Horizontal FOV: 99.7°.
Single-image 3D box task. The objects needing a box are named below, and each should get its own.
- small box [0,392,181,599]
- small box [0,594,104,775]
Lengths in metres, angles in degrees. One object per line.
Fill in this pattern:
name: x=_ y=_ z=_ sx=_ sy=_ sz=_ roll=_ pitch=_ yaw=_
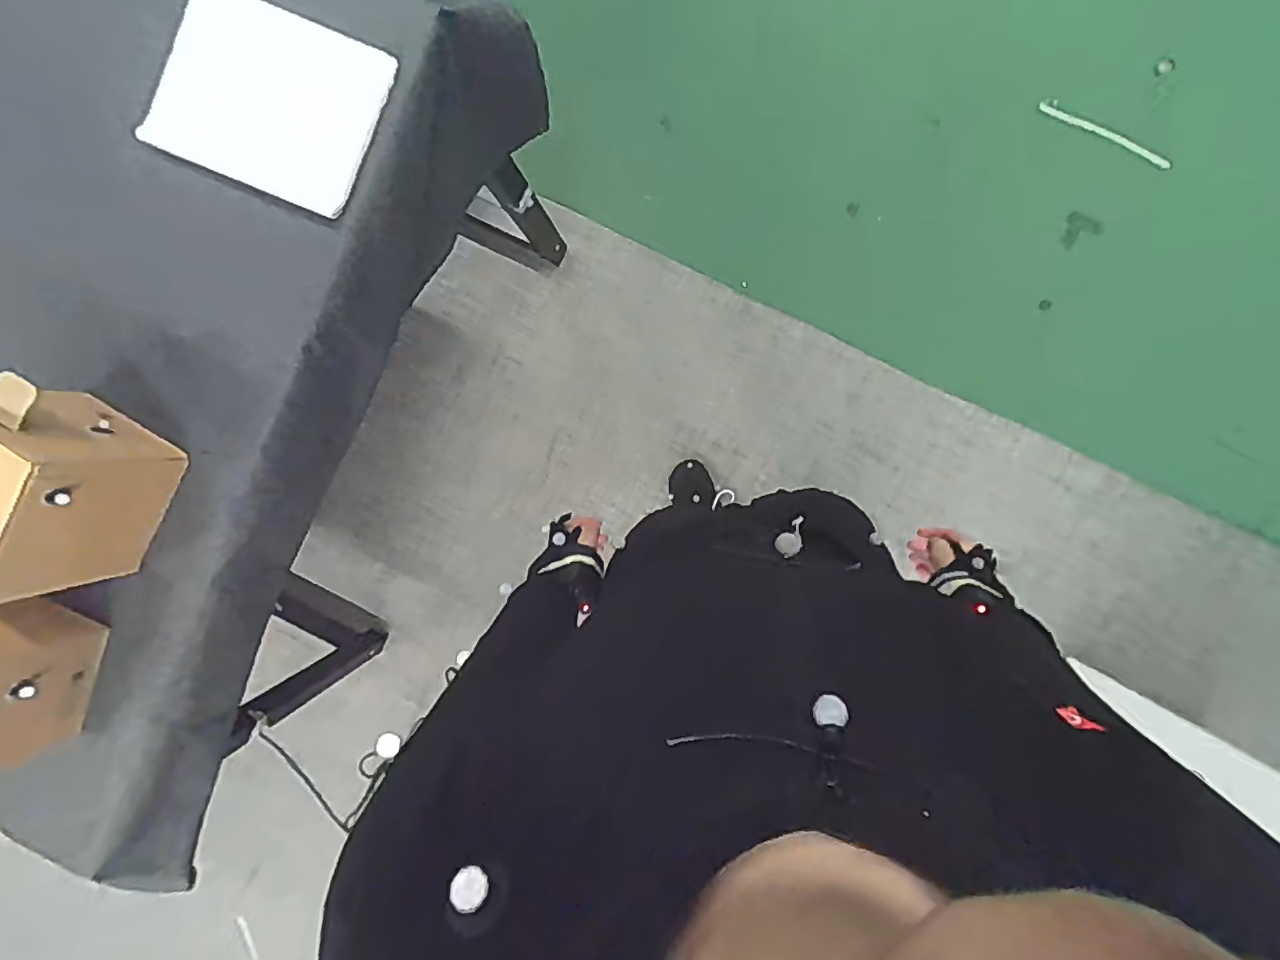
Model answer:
small box: x=-0.681 y=0.015 z=0.608 sx=0.168 sy=0.176 sz=0.179 roll=30 pitch=95 yaw=3
small box: x=-0.800 y=0.245 z=0.632 sx=0.179 sy=0.176 sz=0.168 roll=21 pitch=94 yaw=5
